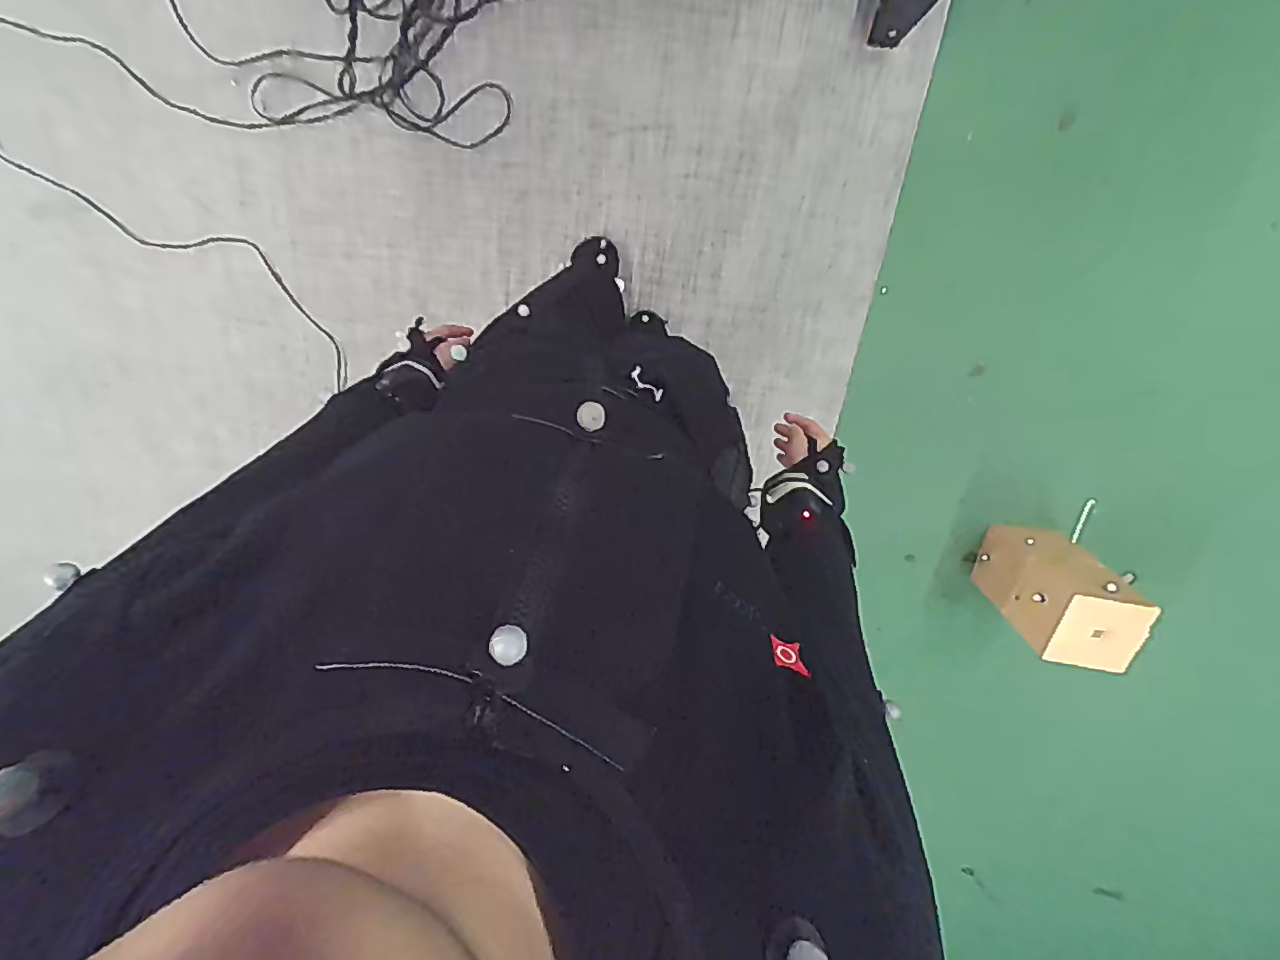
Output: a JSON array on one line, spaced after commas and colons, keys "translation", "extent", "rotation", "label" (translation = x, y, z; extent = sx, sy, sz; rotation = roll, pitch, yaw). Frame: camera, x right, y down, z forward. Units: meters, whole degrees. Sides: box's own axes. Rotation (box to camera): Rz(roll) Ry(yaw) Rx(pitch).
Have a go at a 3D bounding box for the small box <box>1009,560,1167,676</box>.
[{"translation": [0.949, 0.290, 1.169], "extent": [0.179, 0.176, 0.168], "rotation": [9, 111, 1], "label": "small box"}]
